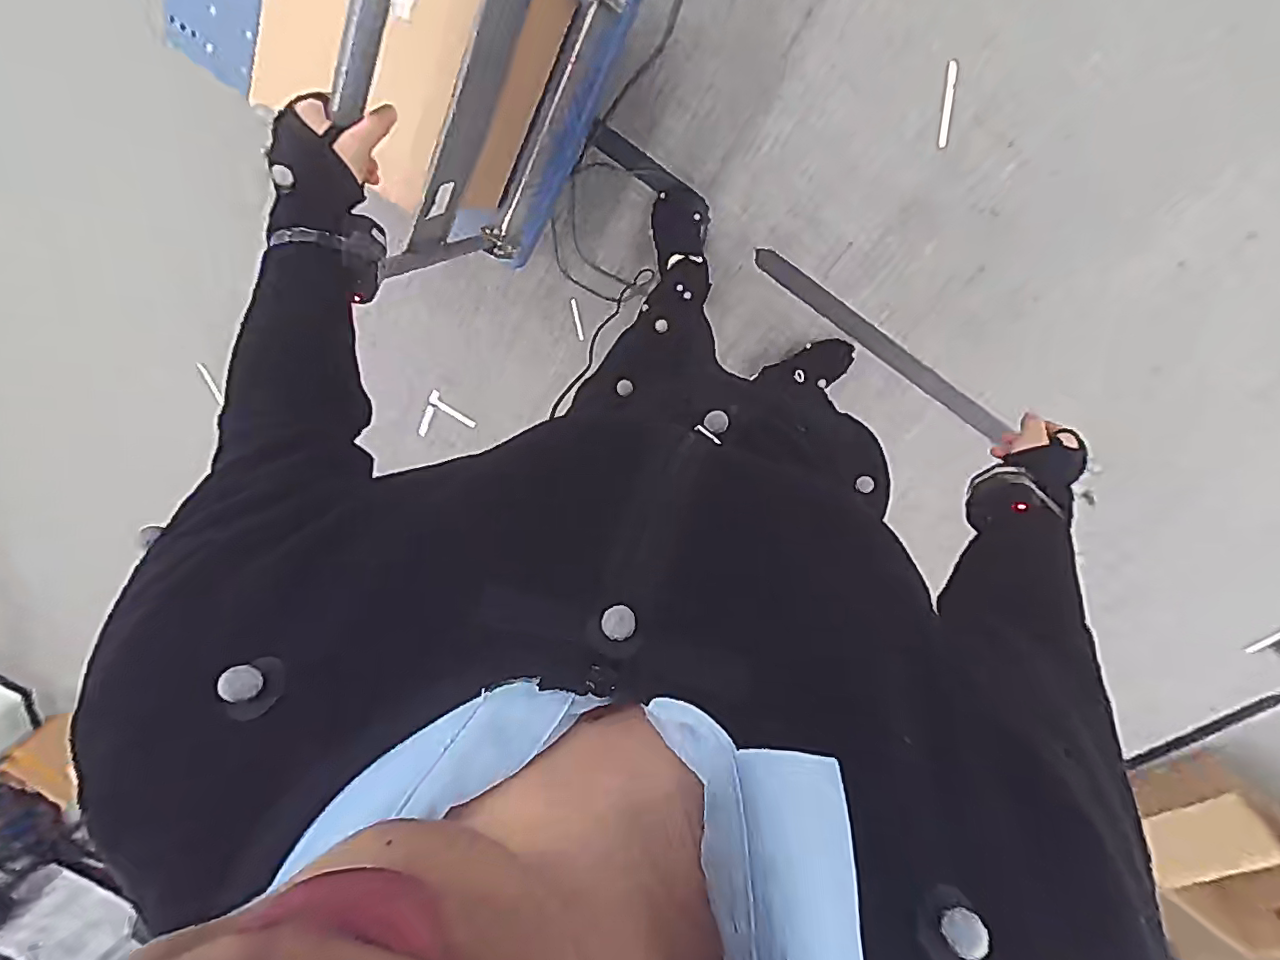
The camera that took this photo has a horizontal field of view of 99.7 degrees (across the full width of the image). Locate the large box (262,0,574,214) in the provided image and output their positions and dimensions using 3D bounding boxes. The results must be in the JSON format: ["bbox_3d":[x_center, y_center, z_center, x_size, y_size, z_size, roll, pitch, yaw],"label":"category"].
[{"bbox_3d":[-0.367,-0.730,0.929,0.320,0.320,0.408,32,120,-5],"label":"large box"}]
